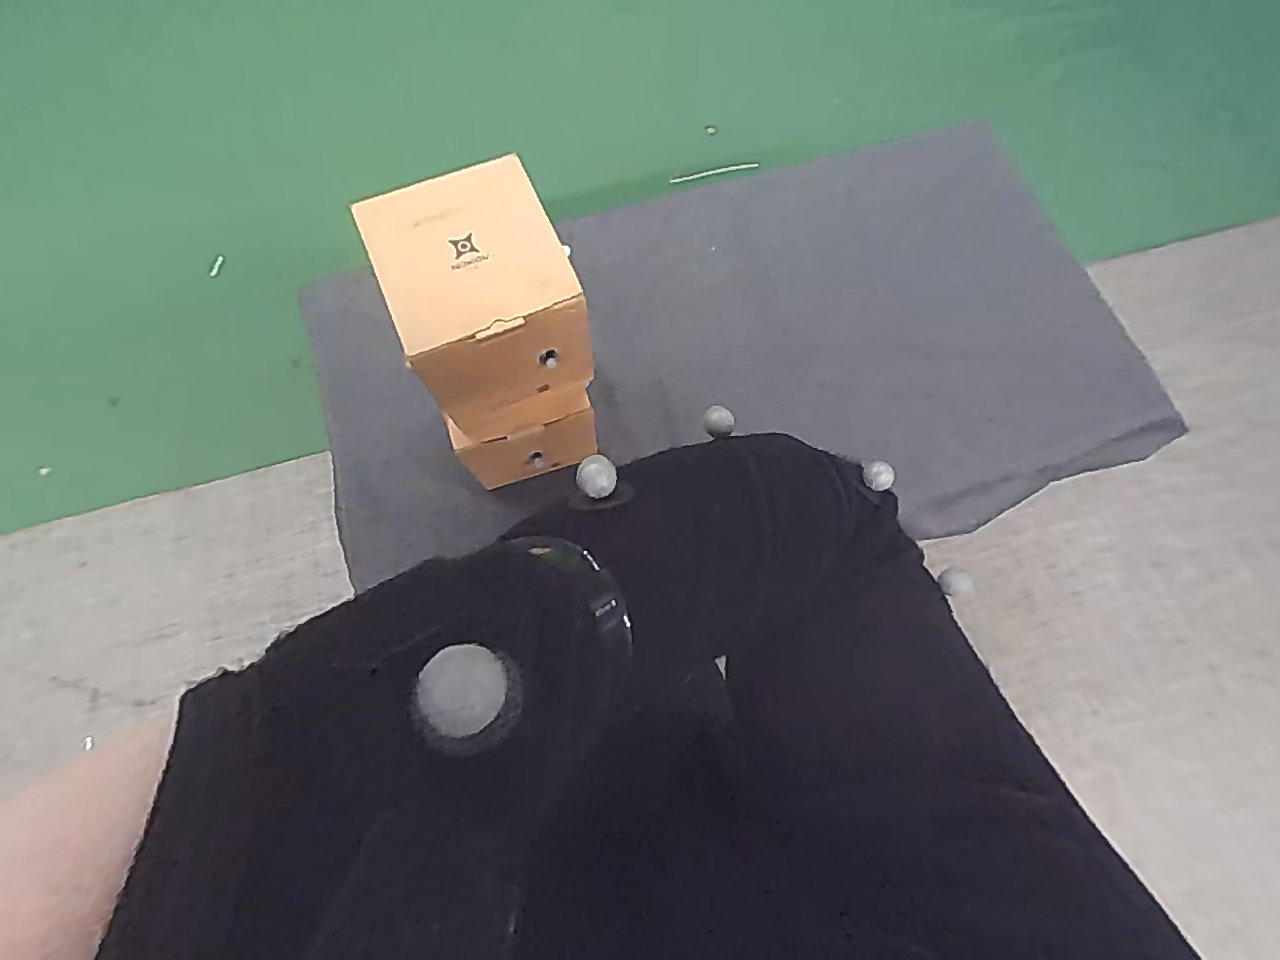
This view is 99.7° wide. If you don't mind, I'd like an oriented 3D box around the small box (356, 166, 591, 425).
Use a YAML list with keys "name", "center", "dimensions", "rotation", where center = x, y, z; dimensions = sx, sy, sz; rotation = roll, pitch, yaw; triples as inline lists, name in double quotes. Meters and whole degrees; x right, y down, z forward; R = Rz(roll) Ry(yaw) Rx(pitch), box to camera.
- name: "small box"
  center: [-0.158, -0.177, 0.568]
  dimensions: [0.168, 0.176, 0.179]
  rotation: [-24, 74, -10]

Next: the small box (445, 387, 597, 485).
- name: "small box"
  center: [-0.159, -0.104, 0.716]
  dimensions: [0.168, 0.176, 0.179]
  rotation: [-18, 75, -8]
